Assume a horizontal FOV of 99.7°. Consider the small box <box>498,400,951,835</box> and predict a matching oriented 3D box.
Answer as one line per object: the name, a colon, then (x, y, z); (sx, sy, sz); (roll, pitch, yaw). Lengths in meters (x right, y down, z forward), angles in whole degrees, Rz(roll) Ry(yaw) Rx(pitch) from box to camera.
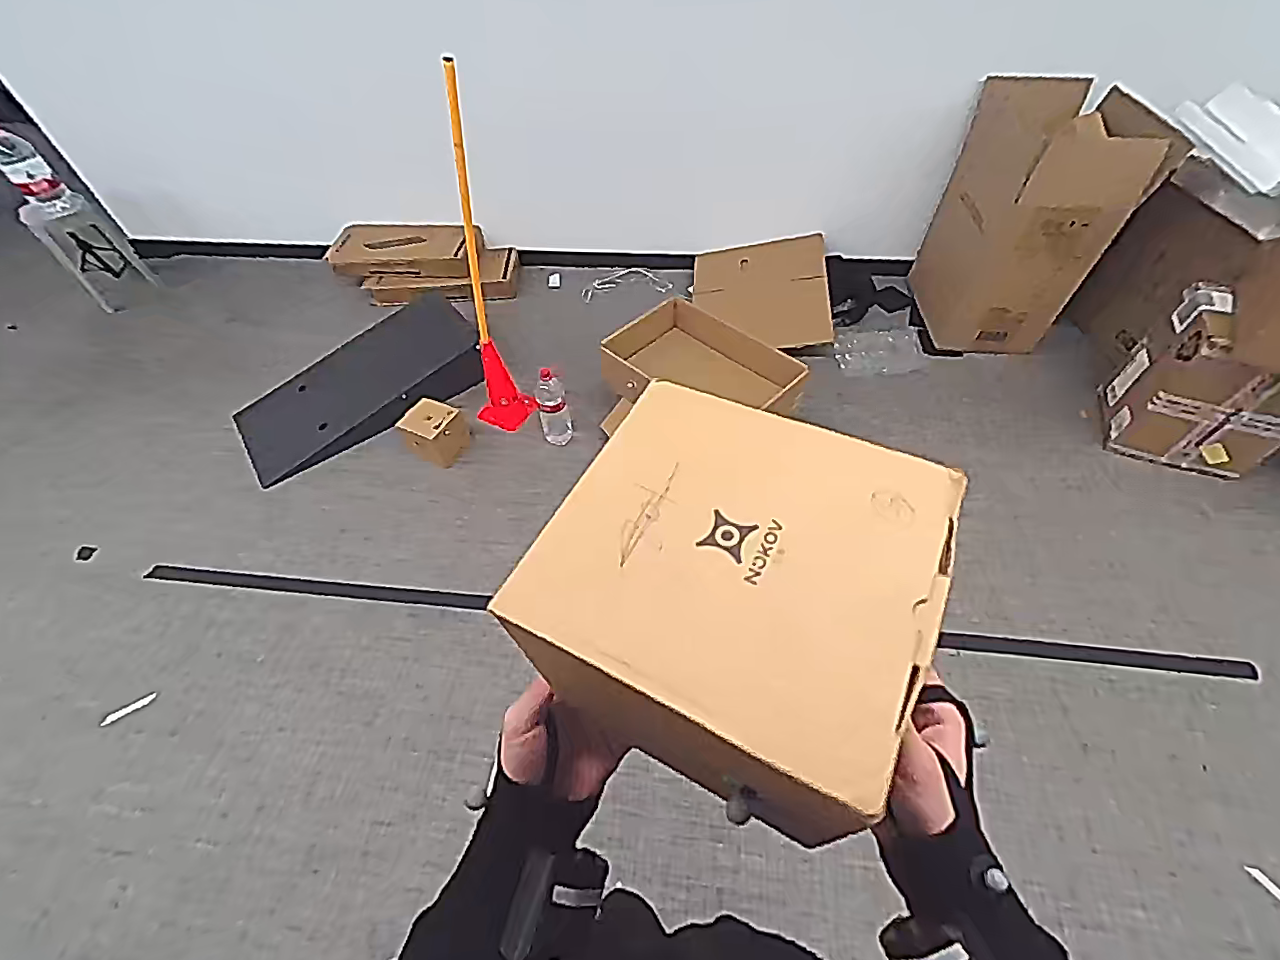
small box: (0.053, 0.084, 0.327); (0.179, 0.176, 0.168); (20, 56, 21)
